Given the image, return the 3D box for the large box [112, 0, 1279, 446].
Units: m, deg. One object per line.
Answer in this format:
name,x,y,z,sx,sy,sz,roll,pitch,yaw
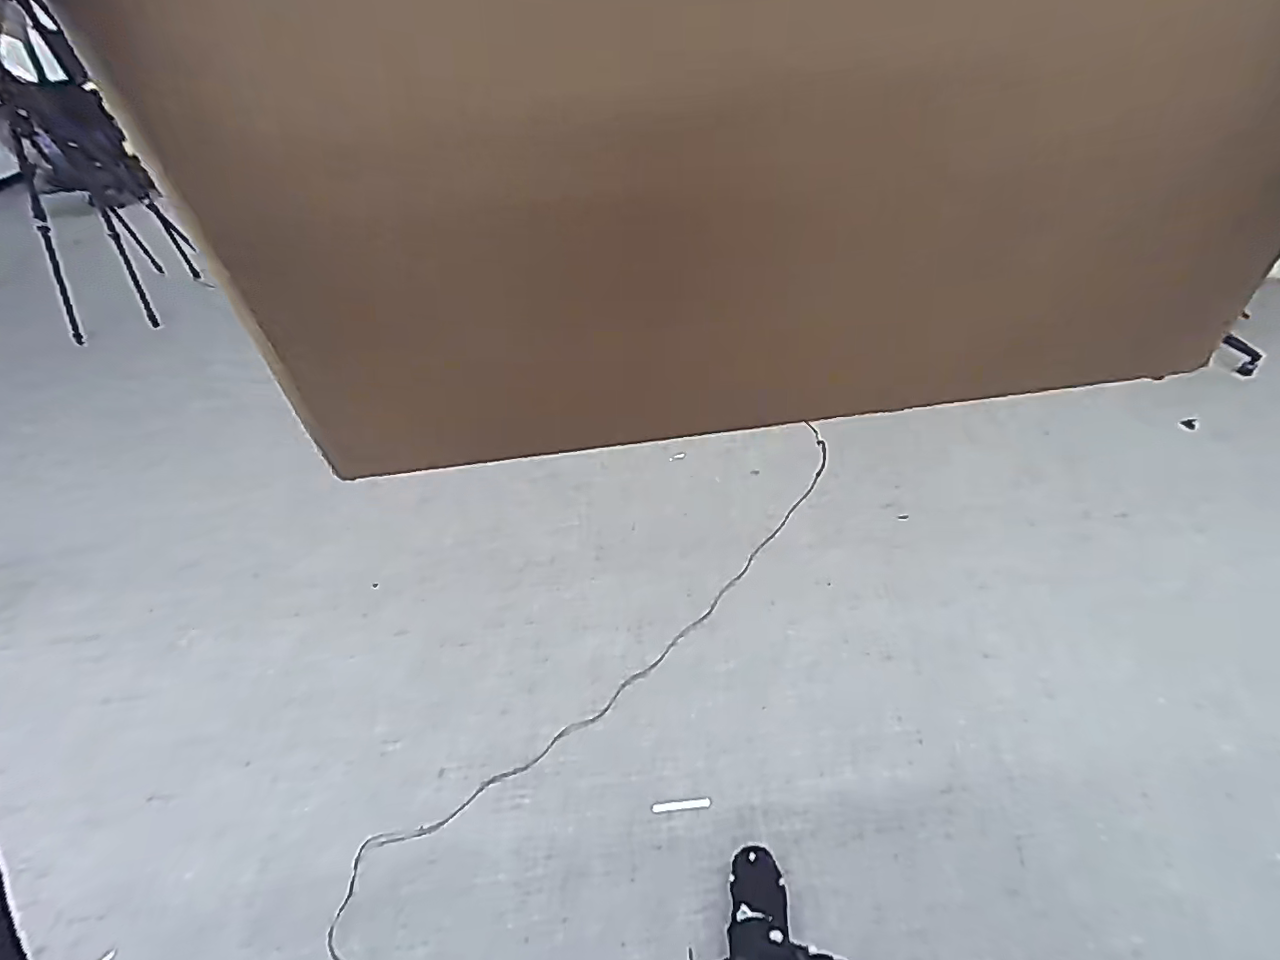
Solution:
large box,0.033,-0.246,0.268,0.408,0.320,0.320,-7,42,-3
